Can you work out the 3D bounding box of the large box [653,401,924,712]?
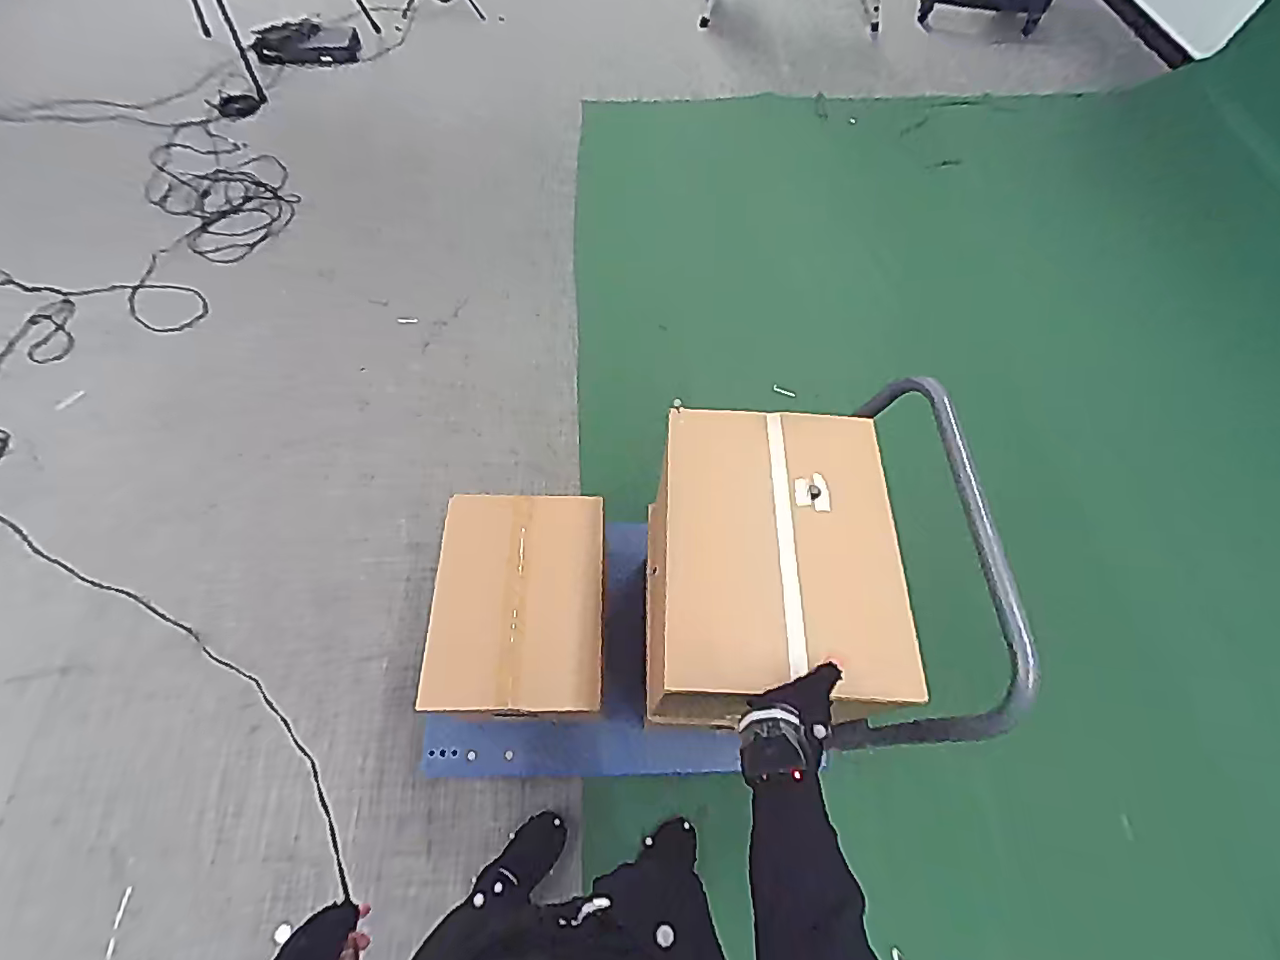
[{"bbox_3d":[0.179,0.132,0.846,0.320,0.320,0.408,3,61,-1],"label":"large box"}]
